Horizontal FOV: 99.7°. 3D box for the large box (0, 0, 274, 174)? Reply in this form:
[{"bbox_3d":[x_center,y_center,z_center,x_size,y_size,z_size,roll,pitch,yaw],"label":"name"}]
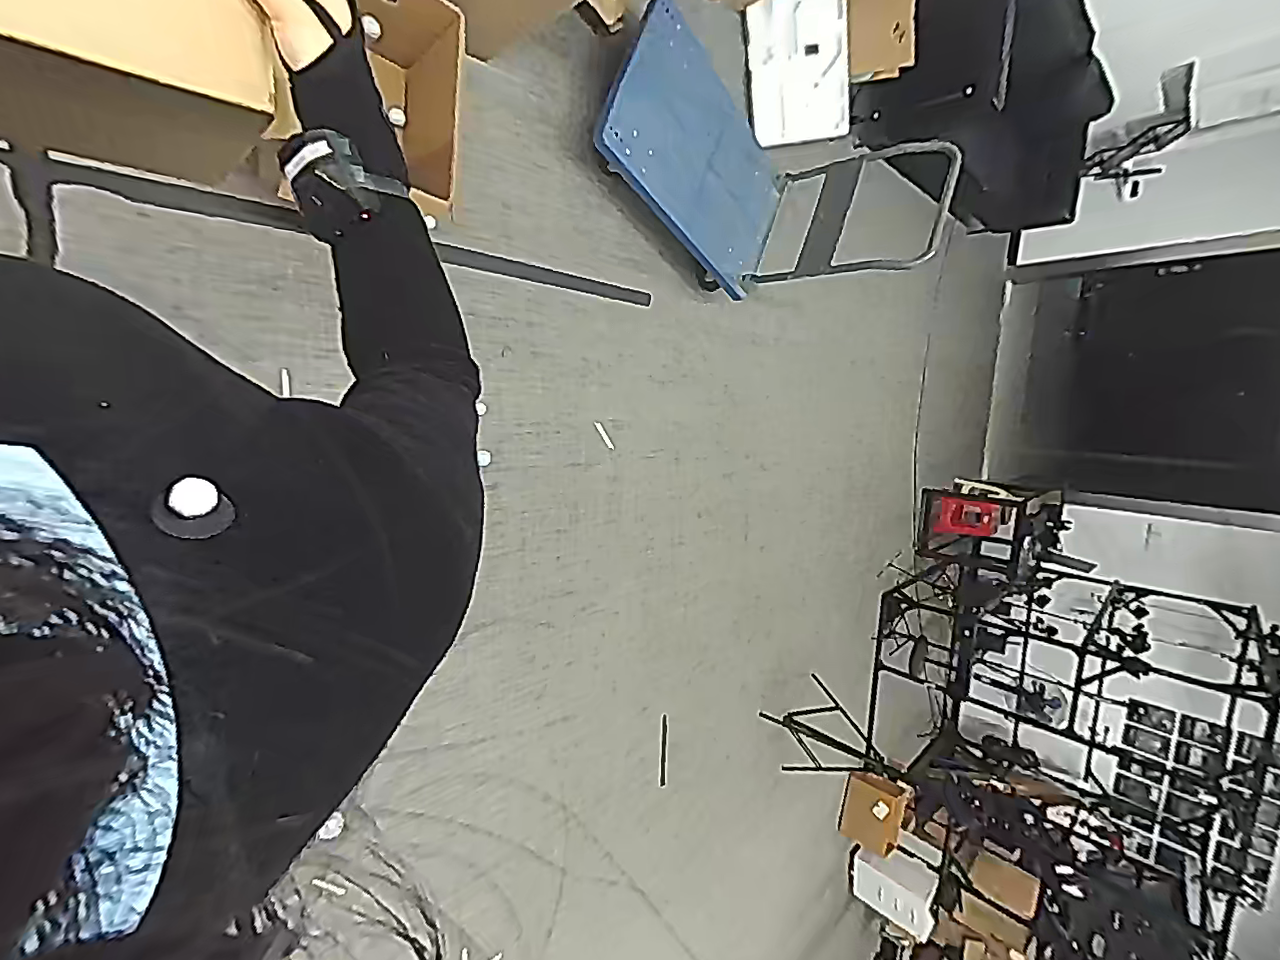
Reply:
[{"bbox_3d":[-0.517,-0.441,0.355,0.408,0.320,0.320,-8,106,-42],"label":"large box"}]
